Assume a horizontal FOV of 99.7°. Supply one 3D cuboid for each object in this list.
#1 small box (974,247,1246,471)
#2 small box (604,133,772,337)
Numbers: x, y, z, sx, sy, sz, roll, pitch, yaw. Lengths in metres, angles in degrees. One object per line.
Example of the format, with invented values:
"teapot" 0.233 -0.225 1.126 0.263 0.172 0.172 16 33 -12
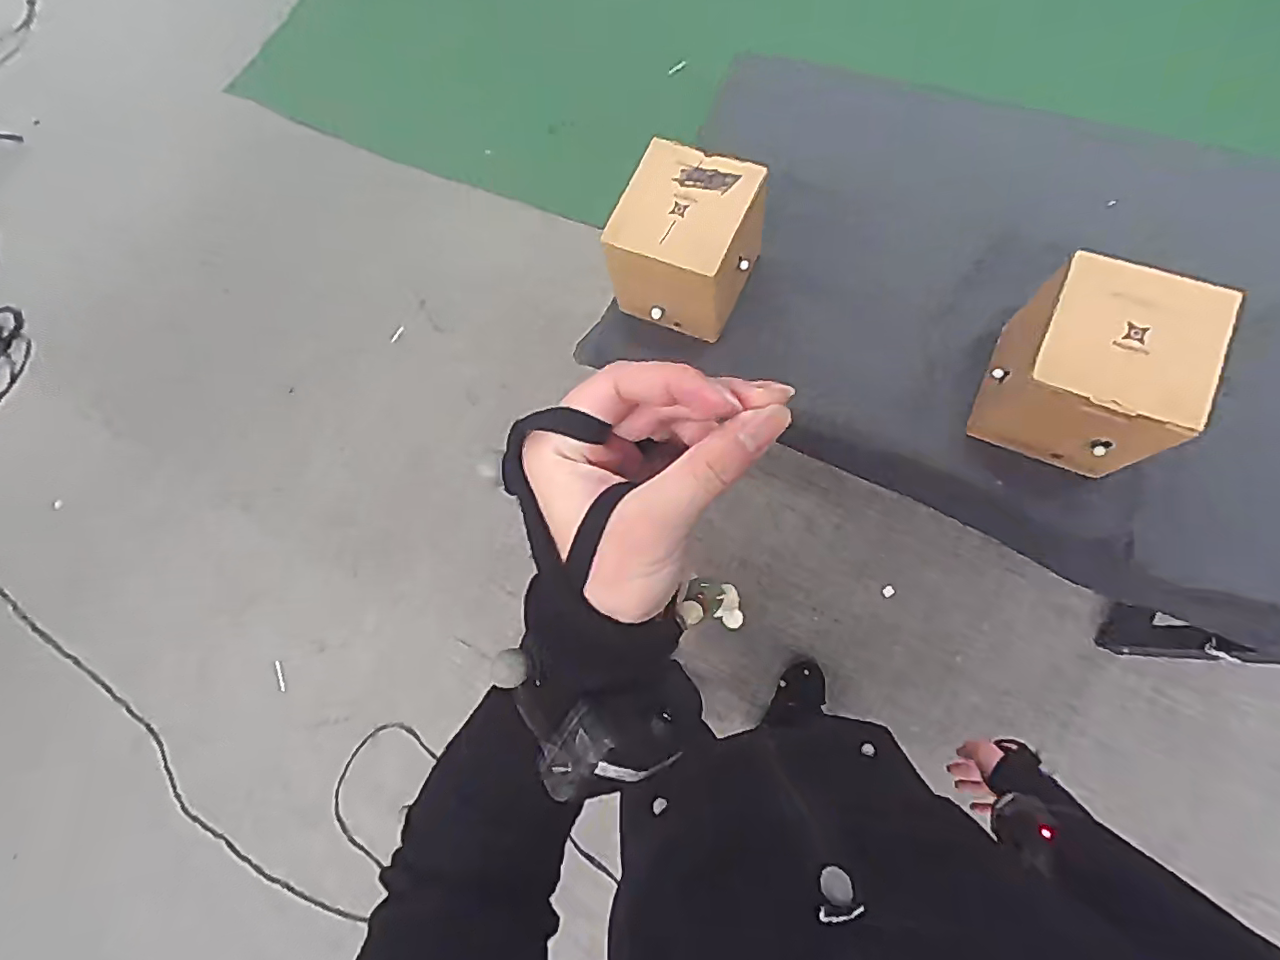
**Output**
"small box" 0.534 -0.132 0.642 0.168 0.176 0.179 23 78 13
"small box" 0.070 -0.338 0.768 0.168 0.176 0.179 24 80 14
